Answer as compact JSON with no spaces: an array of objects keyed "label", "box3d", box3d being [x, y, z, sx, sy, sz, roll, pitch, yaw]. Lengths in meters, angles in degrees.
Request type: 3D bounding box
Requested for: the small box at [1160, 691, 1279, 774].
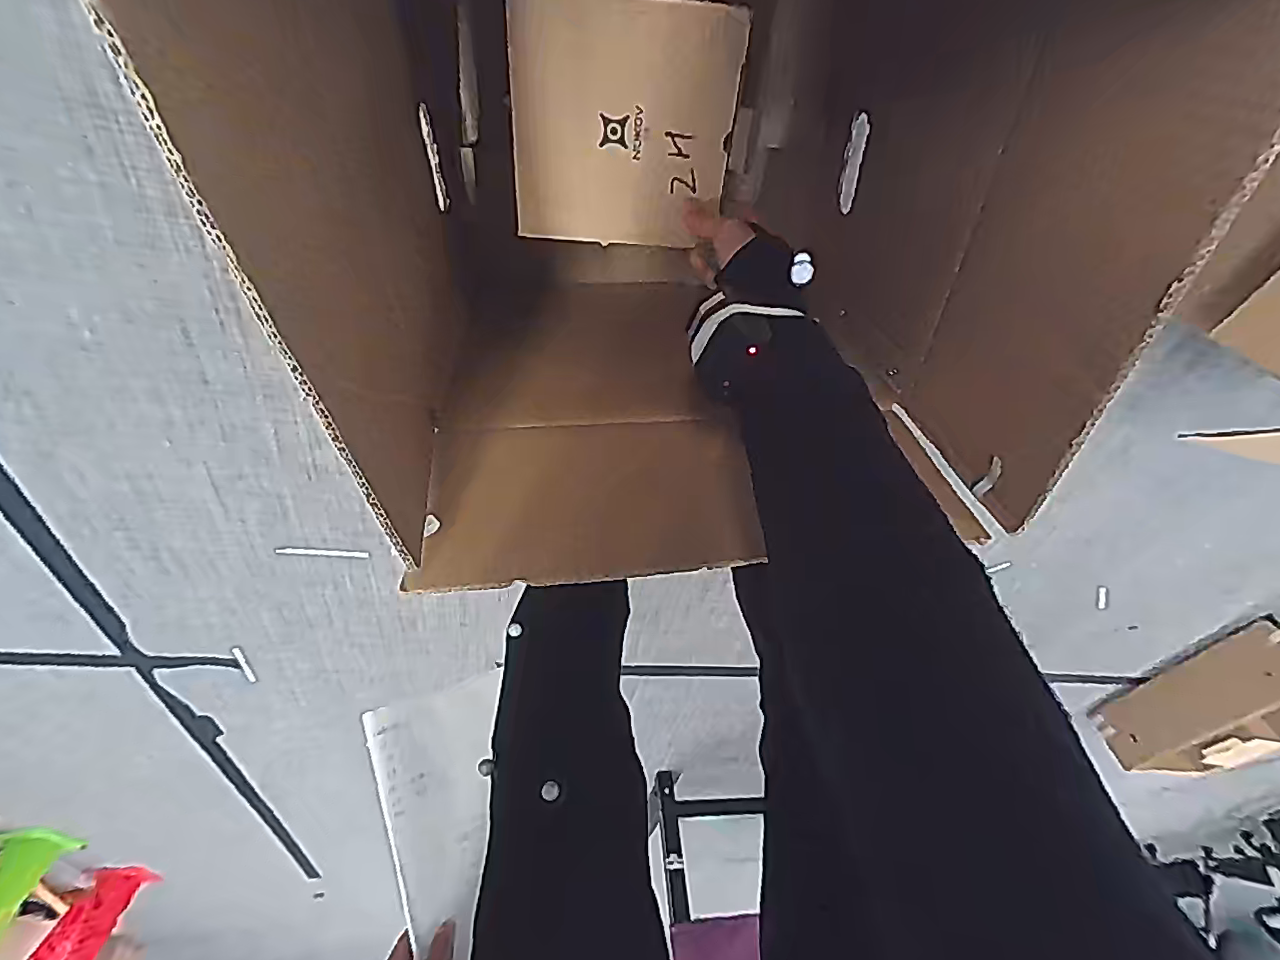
[{"label":"small box","box3d":[1.736,0.752,1.618,0.179,0.176,0.168,17,128,-20]}]
